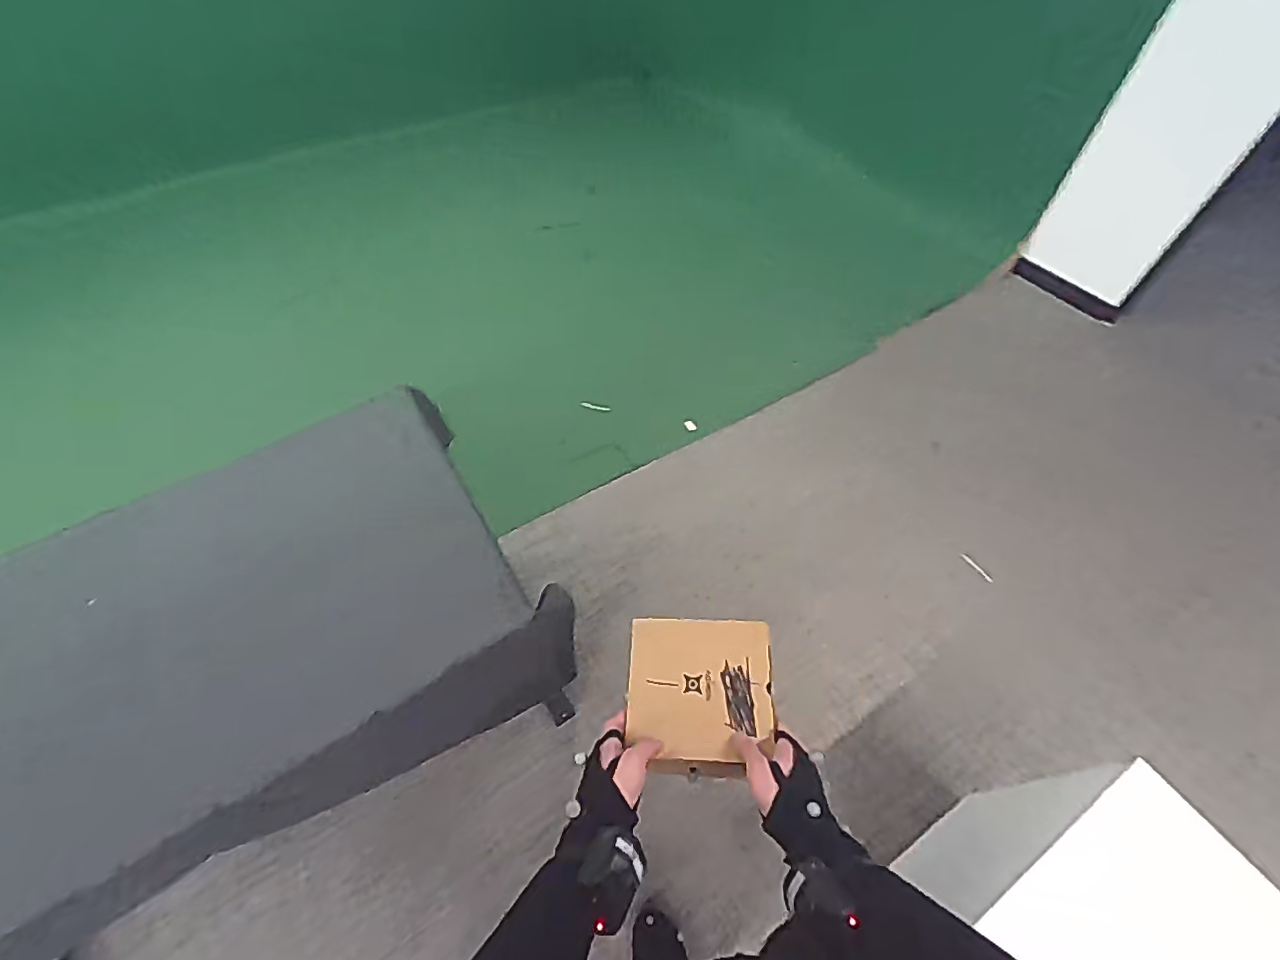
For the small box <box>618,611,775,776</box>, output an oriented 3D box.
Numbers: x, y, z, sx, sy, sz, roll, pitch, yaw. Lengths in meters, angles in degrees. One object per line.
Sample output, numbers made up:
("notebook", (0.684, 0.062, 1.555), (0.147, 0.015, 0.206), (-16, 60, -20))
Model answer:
("small box", (0.070, 0.282, 0.704), (0.179, 0.176, 0.168), (1, 56, 5))
